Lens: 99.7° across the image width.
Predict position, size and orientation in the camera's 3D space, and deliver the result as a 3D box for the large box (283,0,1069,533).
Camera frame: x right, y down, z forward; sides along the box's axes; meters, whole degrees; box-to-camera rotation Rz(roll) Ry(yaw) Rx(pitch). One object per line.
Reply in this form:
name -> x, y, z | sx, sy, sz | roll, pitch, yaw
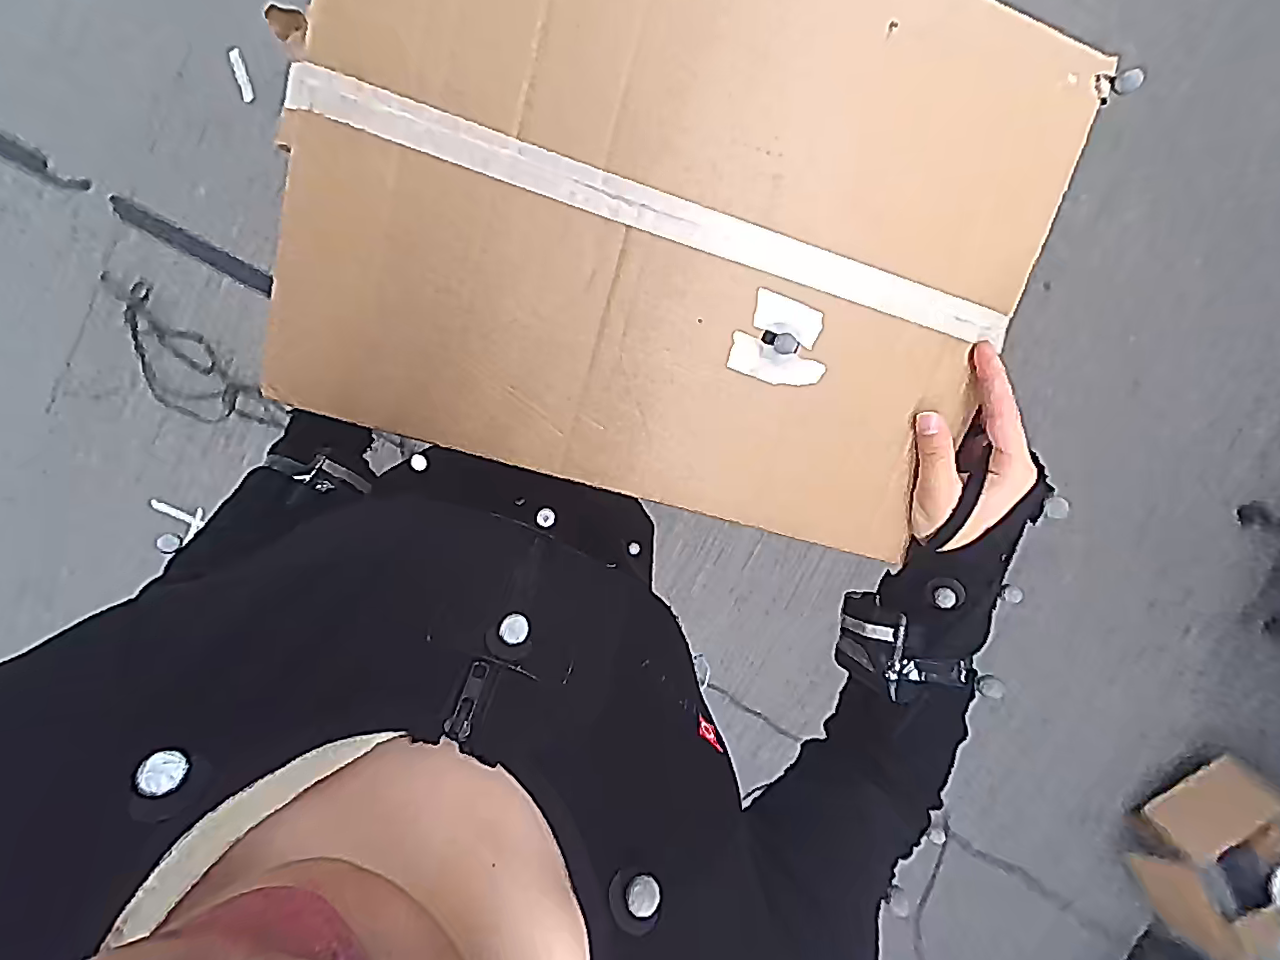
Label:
large box -> 0.004, -0.181, 0.451 | 0.408, 0.320, 0.320 | 13, 103, -11
